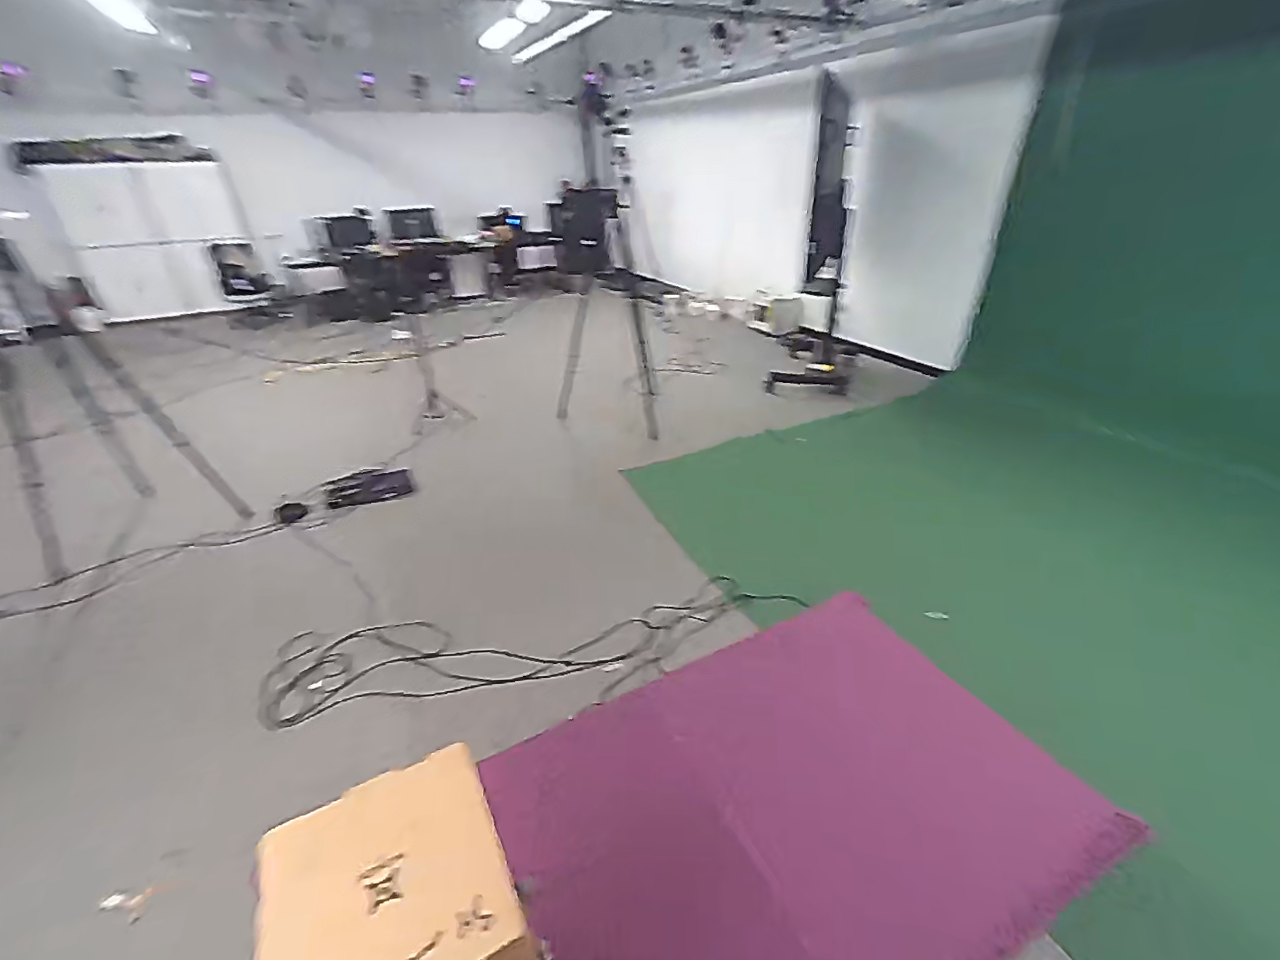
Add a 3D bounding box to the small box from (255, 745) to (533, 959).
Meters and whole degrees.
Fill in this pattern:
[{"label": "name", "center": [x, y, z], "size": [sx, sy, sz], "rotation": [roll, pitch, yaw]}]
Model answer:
[{"label": "small box", "center": [-0.190, 0.372, 0.445], "size": [0.168, 0.176, 0.179], "rotation": [-19, 33, -24]}]
